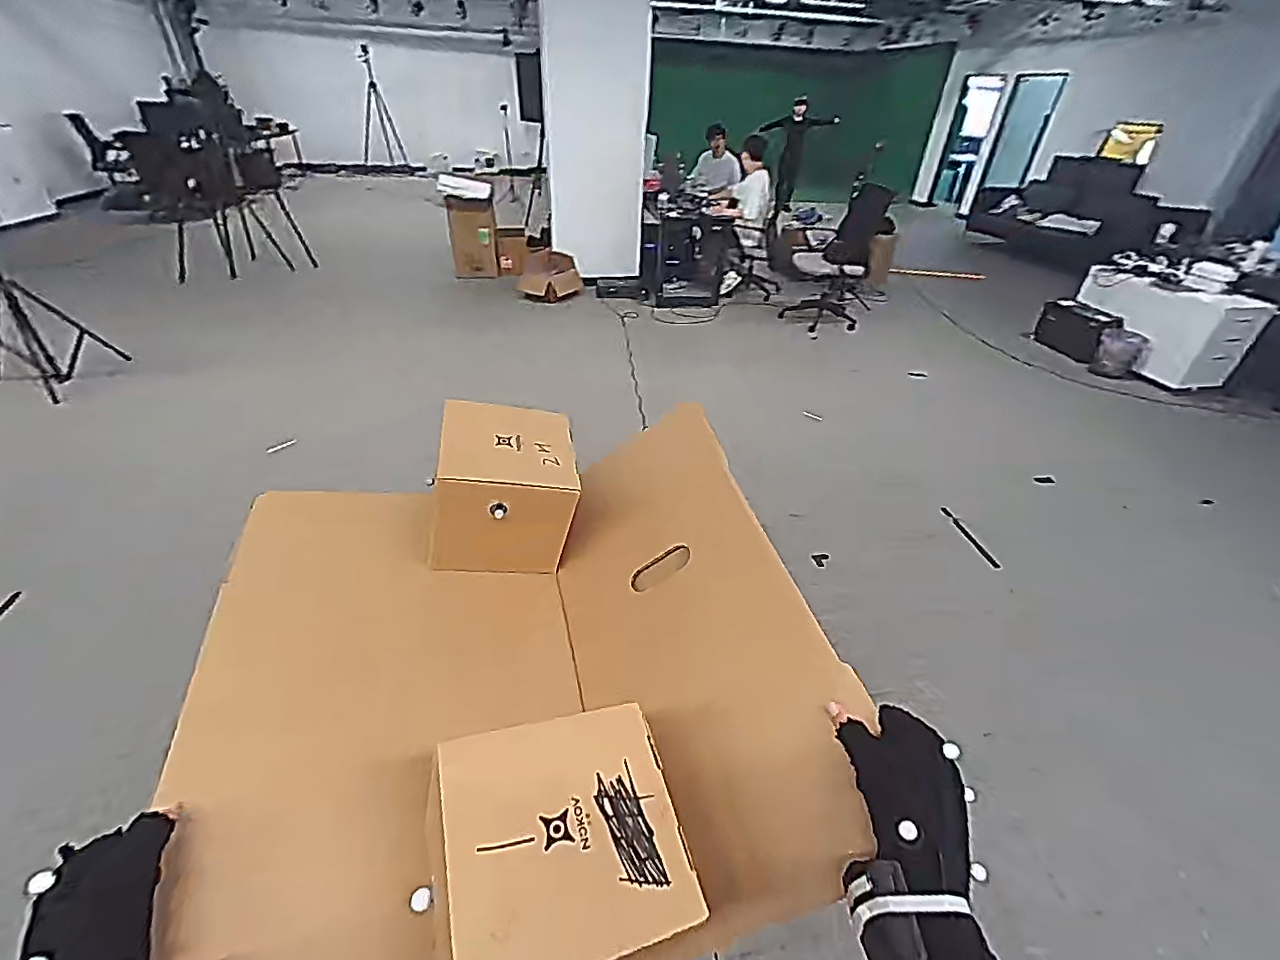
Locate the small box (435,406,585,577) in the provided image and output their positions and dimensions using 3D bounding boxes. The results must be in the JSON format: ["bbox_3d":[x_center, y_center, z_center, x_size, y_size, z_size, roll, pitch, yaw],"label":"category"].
[{"bbox_3d":[-0.188,0.020,0.763,0.179,0.176,0.168,7,40,-20],"label":"small box"}]
